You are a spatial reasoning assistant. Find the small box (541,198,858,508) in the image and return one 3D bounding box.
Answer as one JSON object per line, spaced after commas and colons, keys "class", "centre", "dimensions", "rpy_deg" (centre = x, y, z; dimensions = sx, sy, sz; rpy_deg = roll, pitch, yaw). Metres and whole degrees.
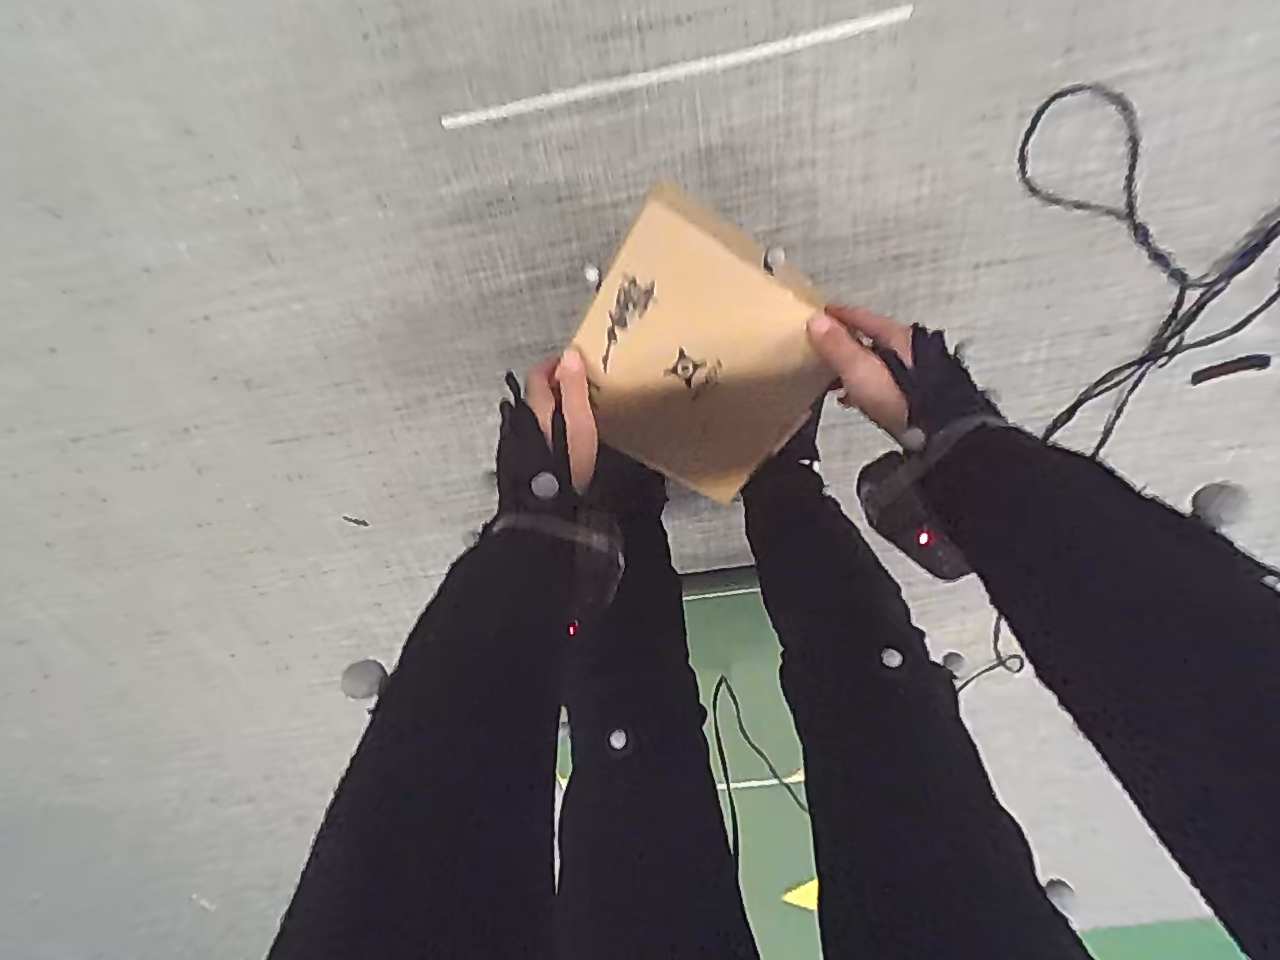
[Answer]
{"class": "small box", "centre": [0.042, -0.114, 0.459], "dimensions": [0.179, 0.176, 0.168], "rpy_deg": [28, 120, -15]}
